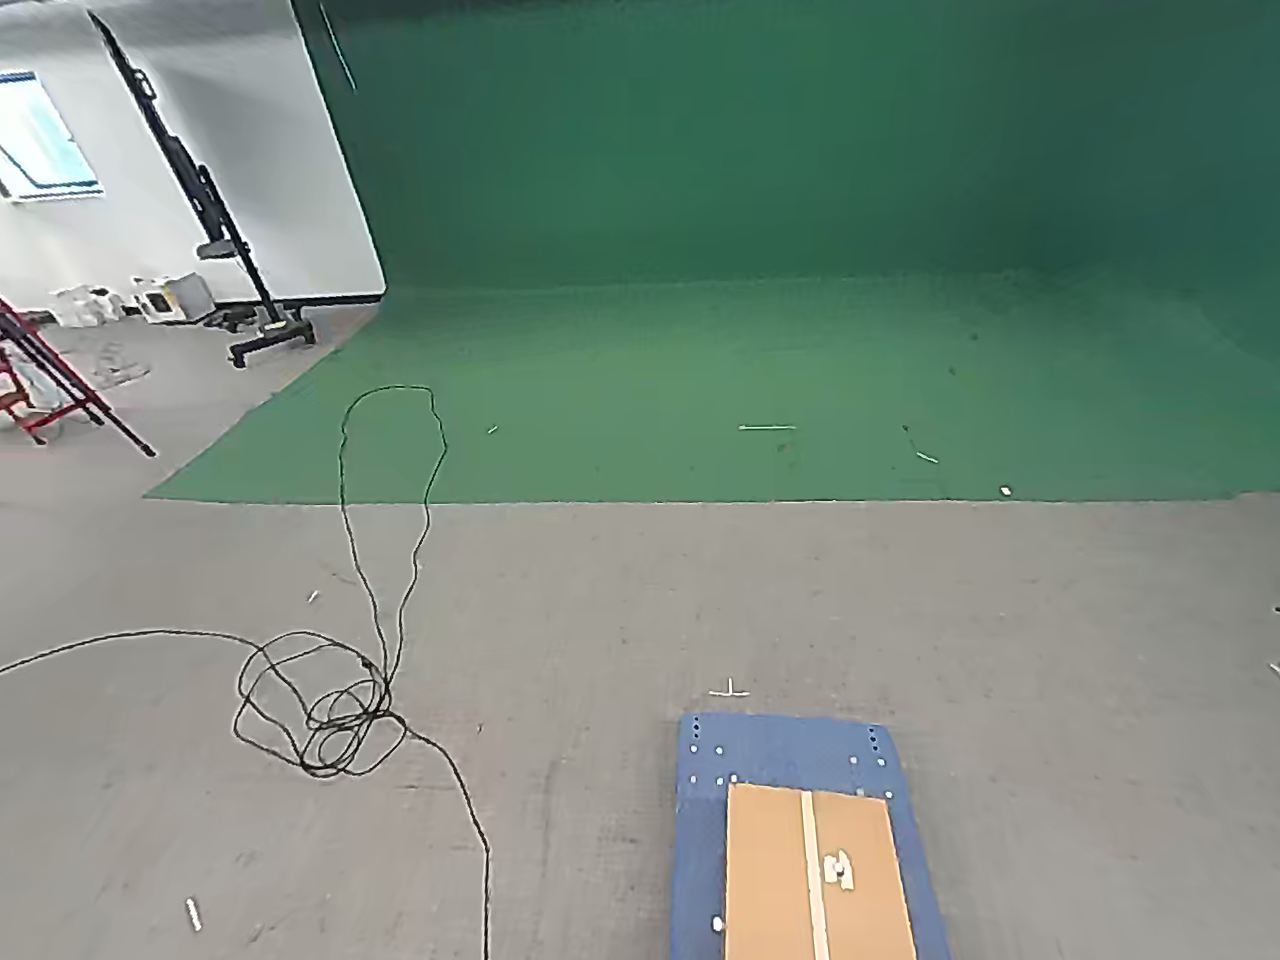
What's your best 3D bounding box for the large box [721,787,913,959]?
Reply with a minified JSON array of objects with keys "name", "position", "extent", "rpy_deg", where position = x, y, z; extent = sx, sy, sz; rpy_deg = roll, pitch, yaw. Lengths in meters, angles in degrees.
[{"name":"large box","position":[0.315,0.881,1.036],"extent":[0.320,0.320,0.408],"rpy_deg":[2,37,9]}]
